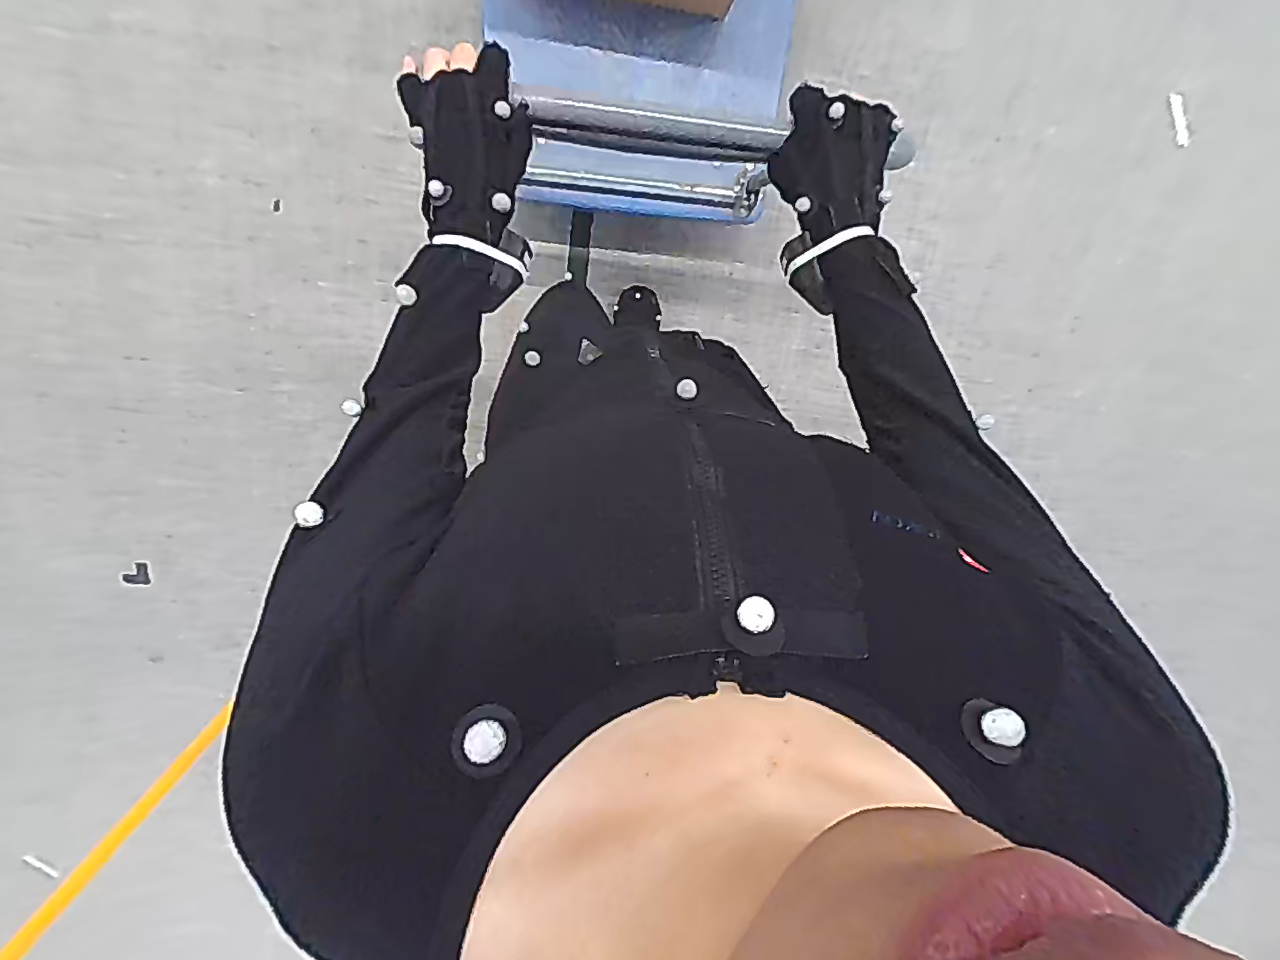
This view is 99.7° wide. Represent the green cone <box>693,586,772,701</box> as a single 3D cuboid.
[{"bbox_3d":[0.295,0.489,1.542,0.202,0.368,0.200,9,109,-9],"label":"green cone"}]
